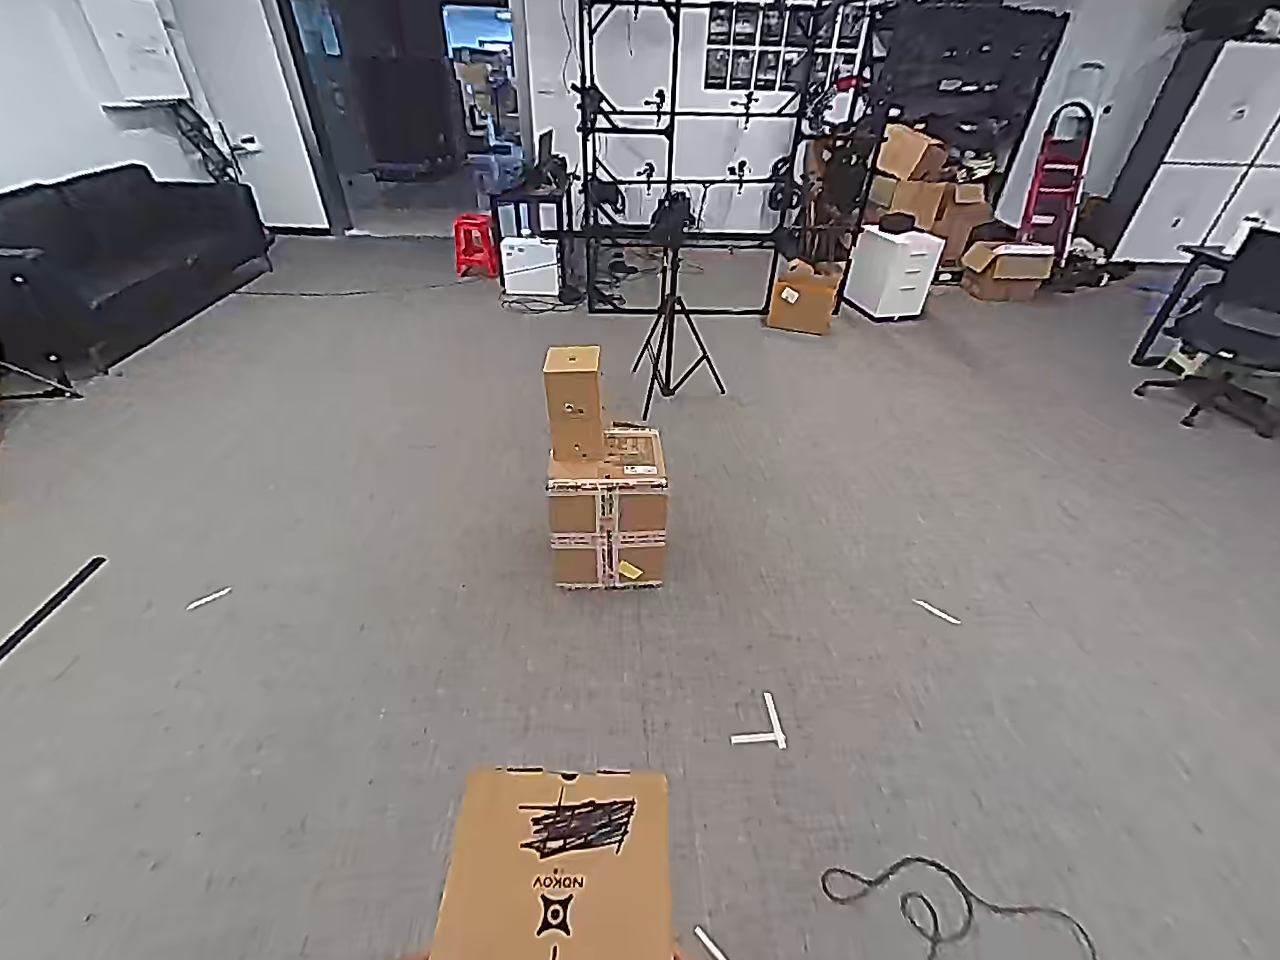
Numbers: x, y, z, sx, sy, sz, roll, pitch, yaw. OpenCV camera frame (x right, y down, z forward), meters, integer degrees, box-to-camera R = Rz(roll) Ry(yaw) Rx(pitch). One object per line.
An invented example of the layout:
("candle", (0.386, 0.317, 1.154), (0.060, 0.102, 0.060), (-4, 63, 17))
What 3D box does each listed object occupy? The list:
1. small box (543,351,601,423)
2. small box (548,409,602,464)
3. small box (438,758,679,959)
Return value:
("small box", (-0.213, -0.299, 1.736), (0.168, 0.176, 0.179), (-2, 39, -1))
("small box", (-0.215, -0.172, 1.837), (0.168, 0.176, 0.179), (-1, 39, -1))
("small box", (-0.061, 0.357, 0.448), (0.168, 0.176, 0.179), (3, 42, -3))
